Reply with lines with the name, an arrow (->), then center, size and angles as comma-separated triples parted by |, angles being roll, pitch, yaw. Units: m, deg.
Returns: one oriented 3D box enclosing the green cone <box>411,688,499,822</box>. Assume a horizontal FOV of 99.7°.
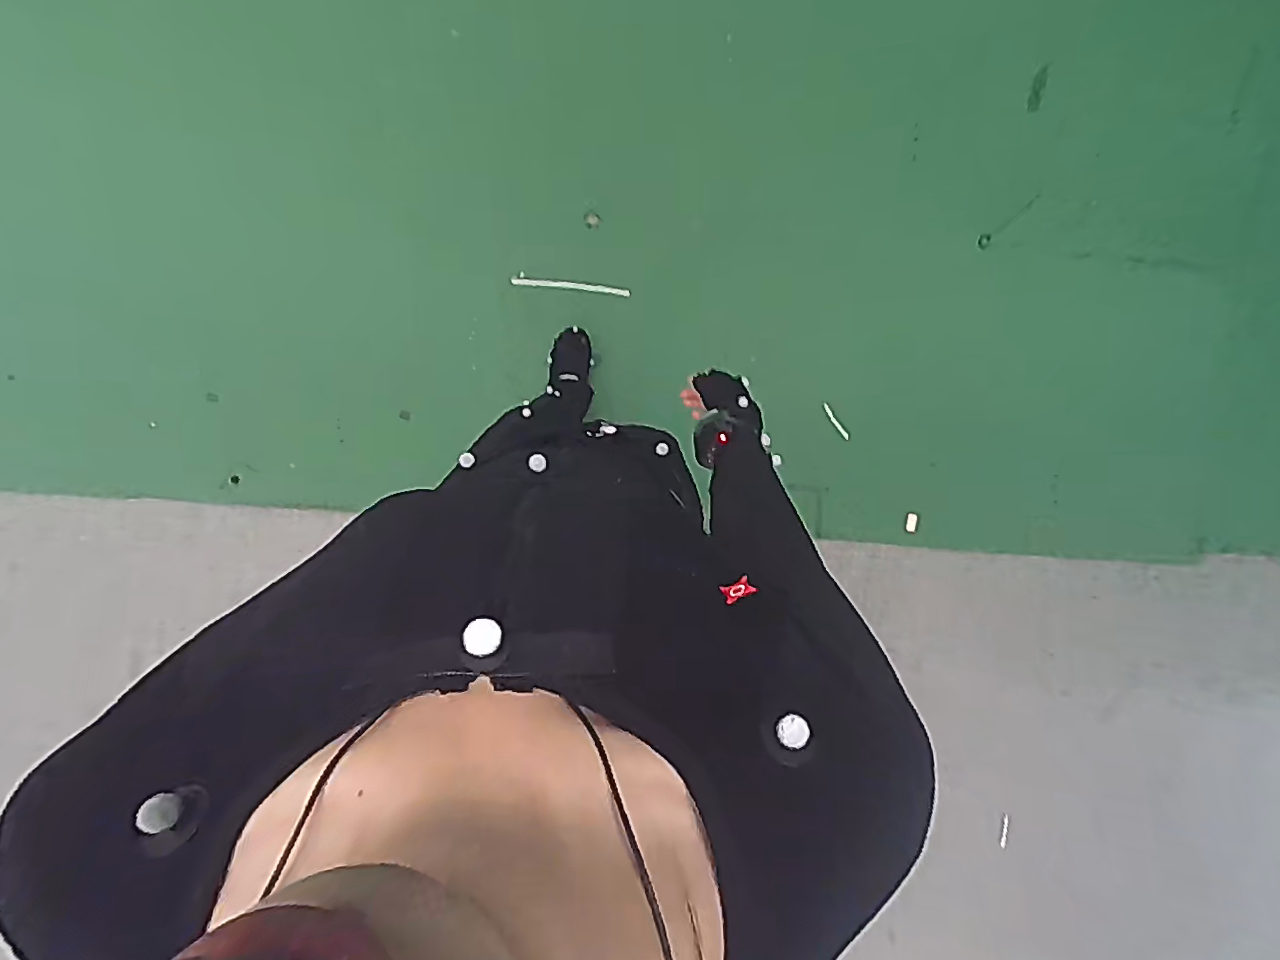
green cone -> -0.499, 0.711, 1.367 | 0.200, 0.368, 0.202 | 6, 97, -4
